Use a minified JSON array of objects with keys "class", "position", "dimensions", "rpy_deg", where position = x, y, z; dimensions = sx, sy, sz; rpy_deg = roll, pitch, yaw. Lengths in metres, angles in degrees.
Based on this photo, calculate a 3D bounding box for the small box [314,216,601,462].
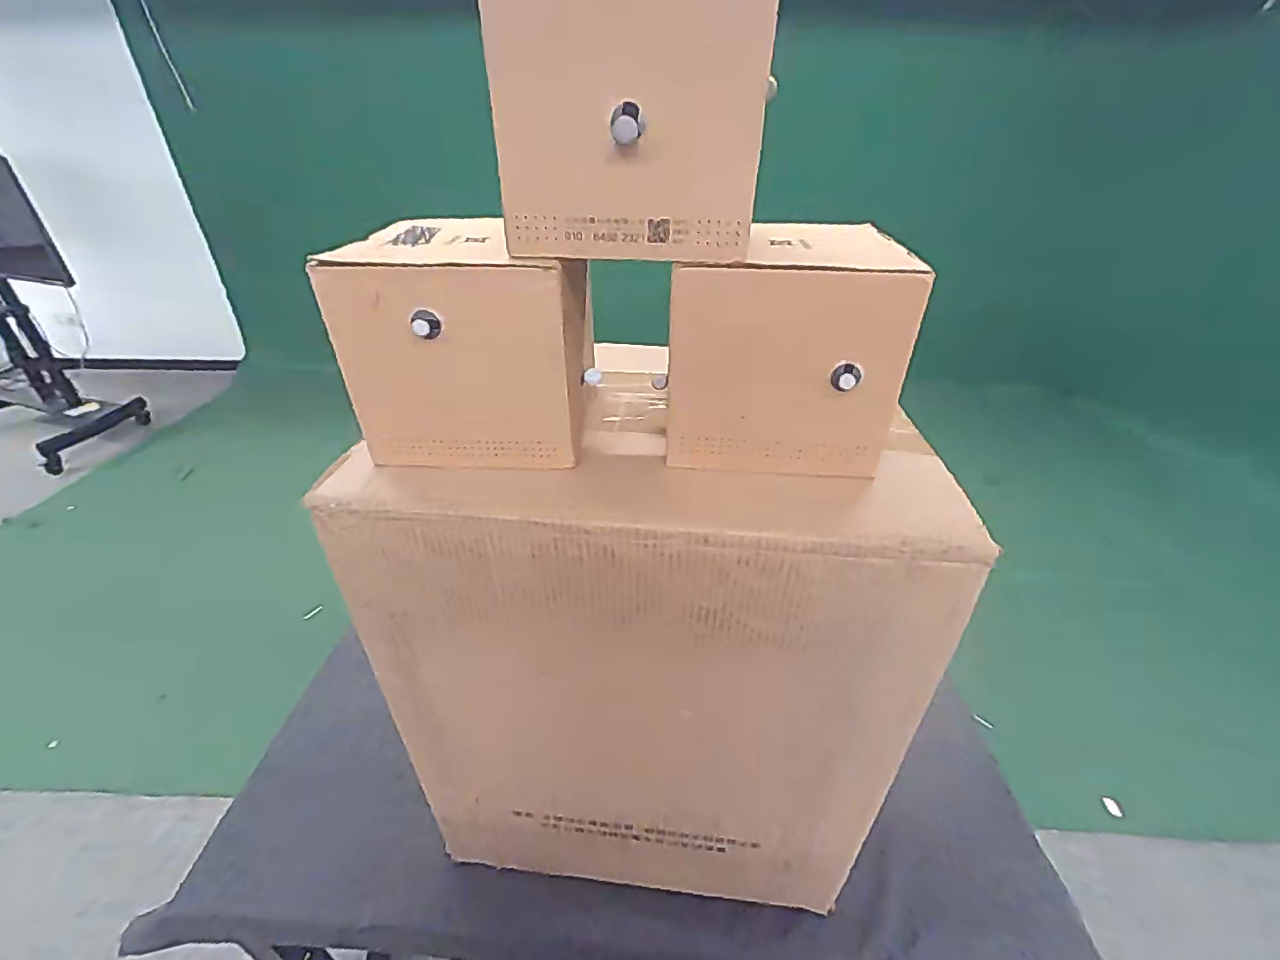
[{"class":"small box","position":[-0.138,-0.129,0.486],"dimensions":[0.179,0.176,0.168],"rpy_deg":[4,37,6]}]

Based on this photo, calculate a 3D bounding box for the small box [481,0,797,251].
[{"class":"small box","position":[-0.002,-0.277,0.403],"dimensions":[0.179,0.176,0.168],"rpy_deg":[-16,38,-21]}]

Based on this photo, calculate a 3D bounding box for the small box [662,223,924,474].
[{"class":"small box","position":[0.114,-0.118,0.477],"dimensions":[0.179,0.176,0.168],"rpy_deg":[3,35,5]}]
